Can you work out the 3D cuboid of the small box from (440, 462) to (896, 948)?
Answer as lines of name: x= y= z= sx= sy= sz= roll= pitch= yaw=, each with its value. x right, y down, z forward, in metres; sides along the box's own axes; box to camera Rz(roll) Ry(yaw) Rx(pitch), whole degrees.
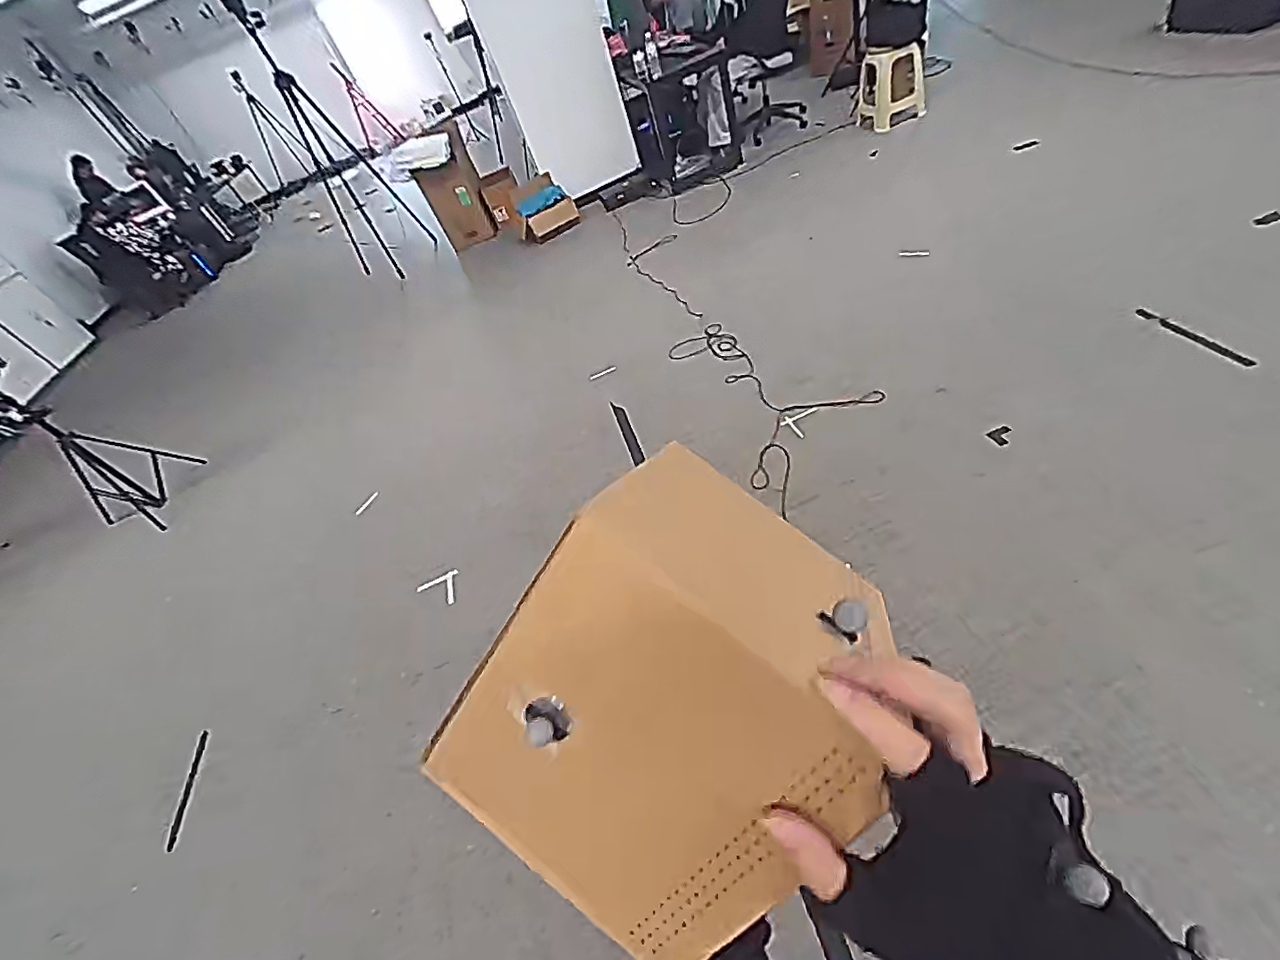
small box: x=0.021 y=0.120 z=0.328 sx=0.176 sy=0.179 sz=0.168 roll=36 pitch=23 yaw=6
